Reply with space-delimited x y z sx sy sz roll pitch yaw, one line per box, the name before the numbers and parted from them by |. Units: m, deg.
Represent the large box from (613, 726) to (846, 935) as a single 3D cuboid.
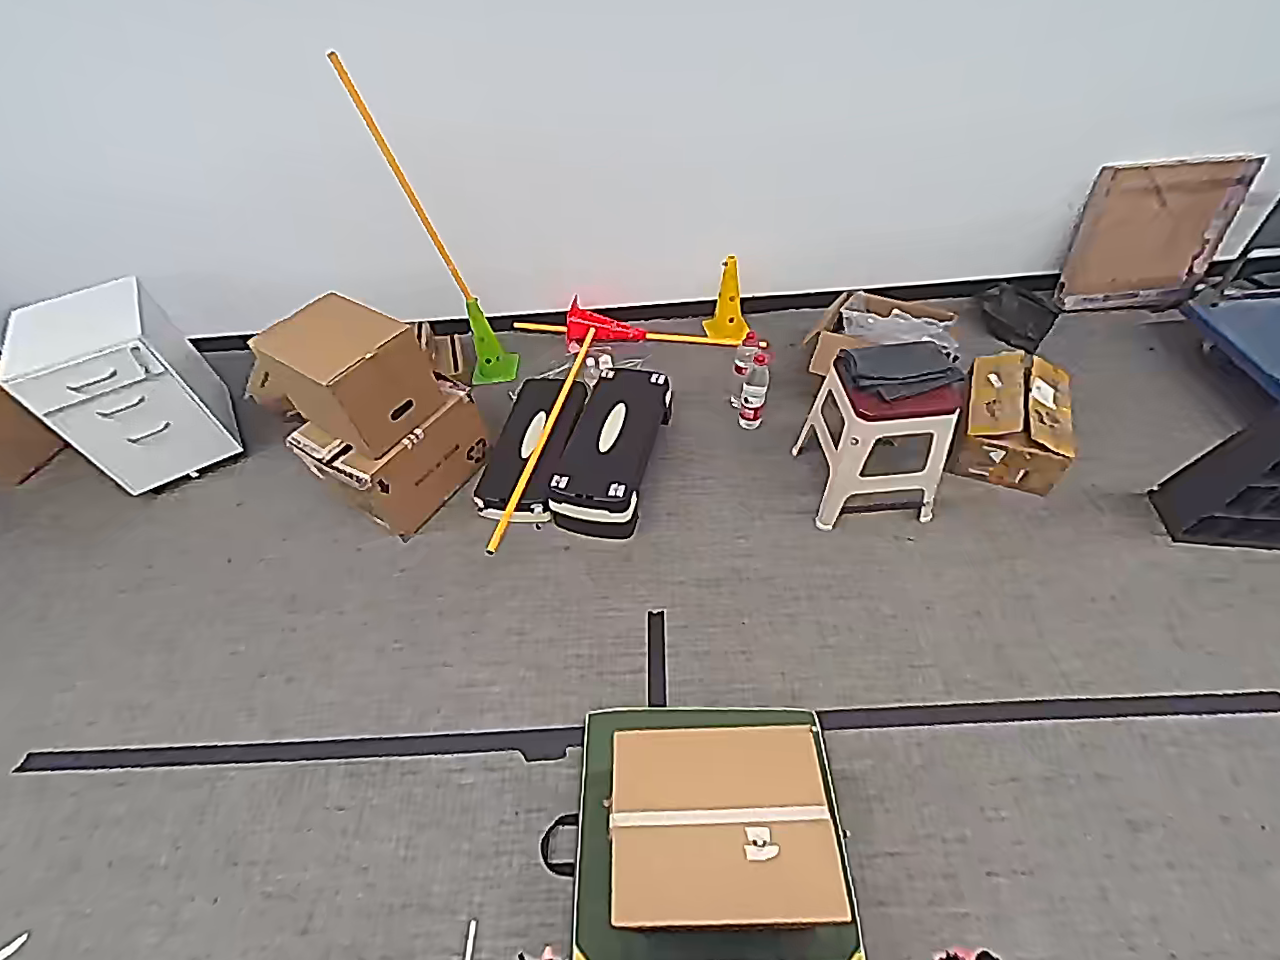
large box | 0.155 0.733 1.127 0.408 0.320 0.320 -3 49 1
